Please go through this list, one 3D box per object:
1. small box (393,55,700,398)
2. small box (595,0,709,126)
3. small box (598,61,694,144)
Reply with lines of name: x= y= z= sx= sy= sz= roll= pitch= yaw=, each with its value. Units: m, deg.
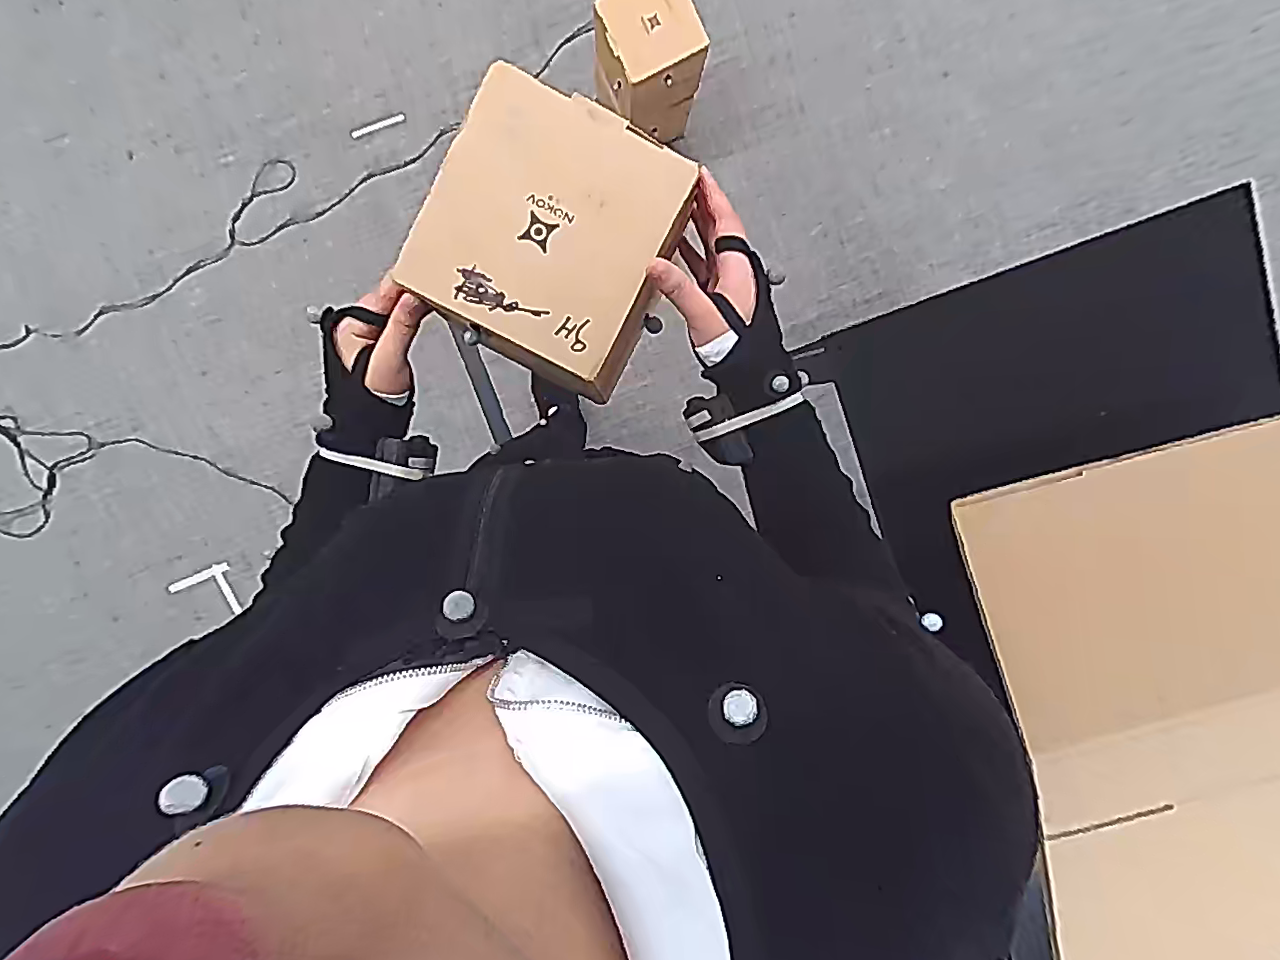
small box: x=-0.068 y=-0.191 z=0.465 sx=0.168 sy=0.176 sz=0.179 roll=27 pitch=90 yaw=0
small box: x=0.021 y=-0.882 z=1.131 sx=0.179 sy=0.176 sz=0.168 roll=-27 pitch=98 yaw=0
small box: x=0.010 y=-0.897 z=1.292 sx=0.179 sy=0.176 sz=0.168 roll=-24 pitch=97 yaw=1
